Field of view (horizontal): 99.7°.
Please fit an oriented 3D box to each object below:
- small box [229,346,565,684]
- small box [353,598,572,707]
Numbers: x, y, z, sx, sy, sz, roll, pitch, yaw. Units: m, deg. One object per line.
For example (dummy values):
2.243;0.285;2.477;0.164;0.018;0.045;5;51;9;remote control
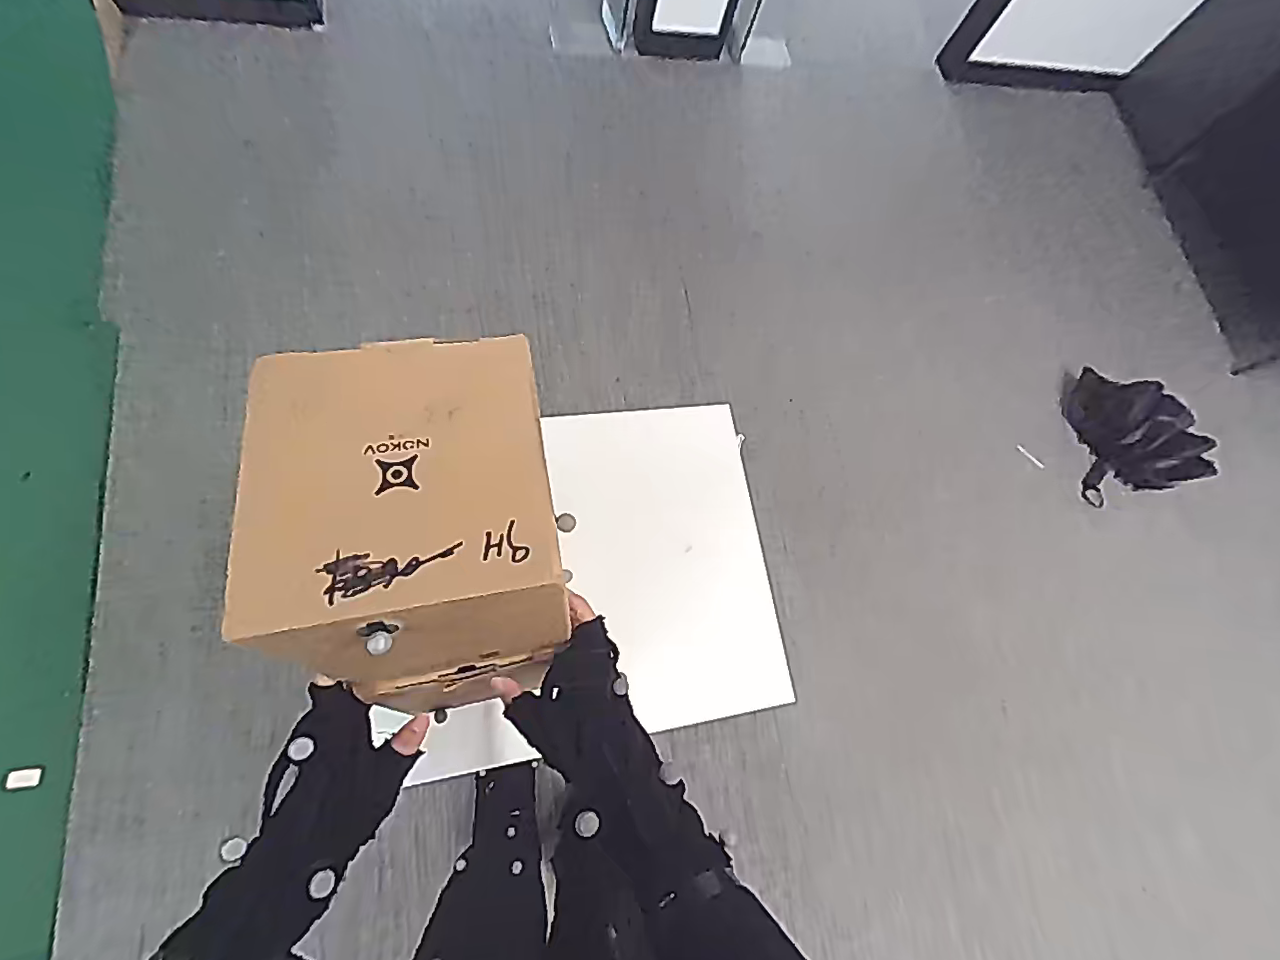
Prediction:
-0.148;0.031;0.389;0.168;0.176;0.179;-9;63;-10;small box
-0.162;0.113;0.530;0.168;0.176;0.179;-10;63;-10;small box
